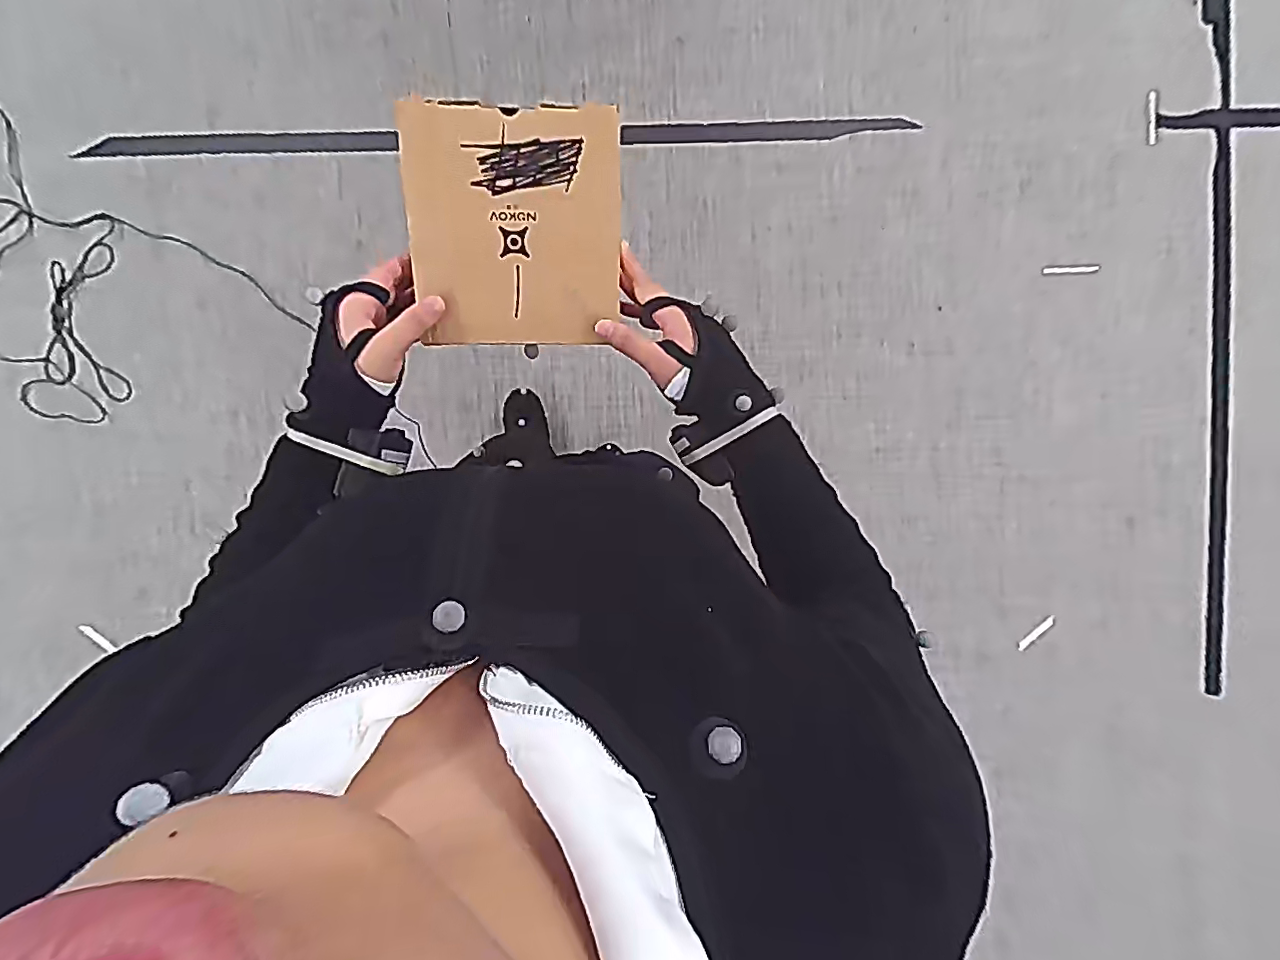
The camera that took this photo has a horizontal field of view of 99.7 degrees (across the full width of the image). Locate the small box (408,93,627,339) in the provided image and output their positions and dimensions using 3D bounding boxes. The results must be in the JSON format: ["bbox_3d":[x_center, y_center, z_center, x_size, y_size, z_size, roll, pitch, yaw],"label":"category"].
[{"bbox_3d":[-0.099,-0.224,0.505,0.168,0.176,0.179,-1,105,-4],"label":"small box"}]
